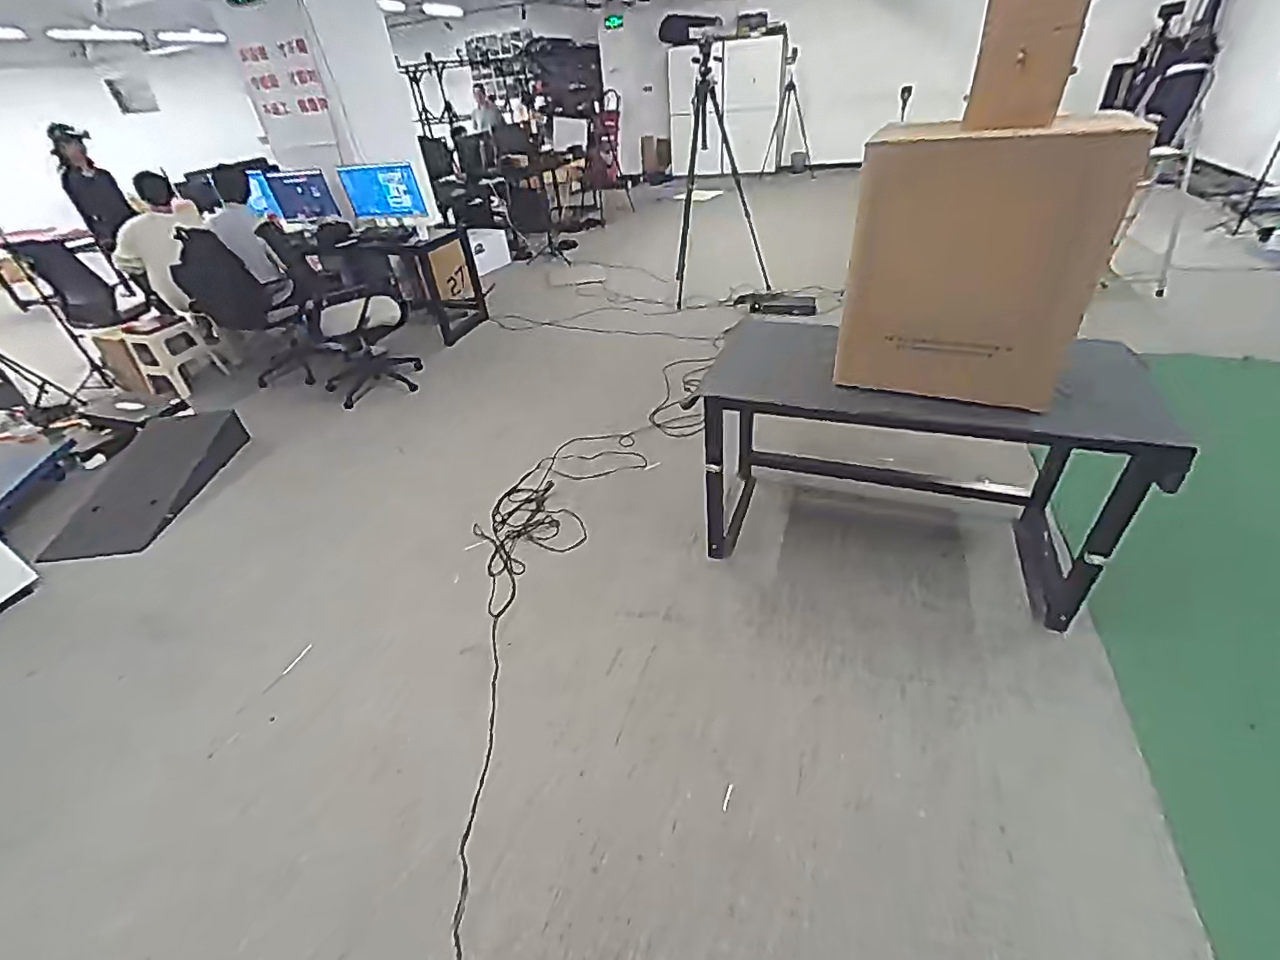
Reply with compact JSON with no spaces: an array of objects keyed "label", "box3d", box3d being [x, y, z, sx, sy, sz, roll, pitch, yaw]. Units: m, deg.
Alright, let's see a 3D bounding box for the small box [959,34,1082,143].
[{"label":"small box","box3d":[0.817,-0.847,1.174,0.179,0.176,0.168,13,43,25]}]
